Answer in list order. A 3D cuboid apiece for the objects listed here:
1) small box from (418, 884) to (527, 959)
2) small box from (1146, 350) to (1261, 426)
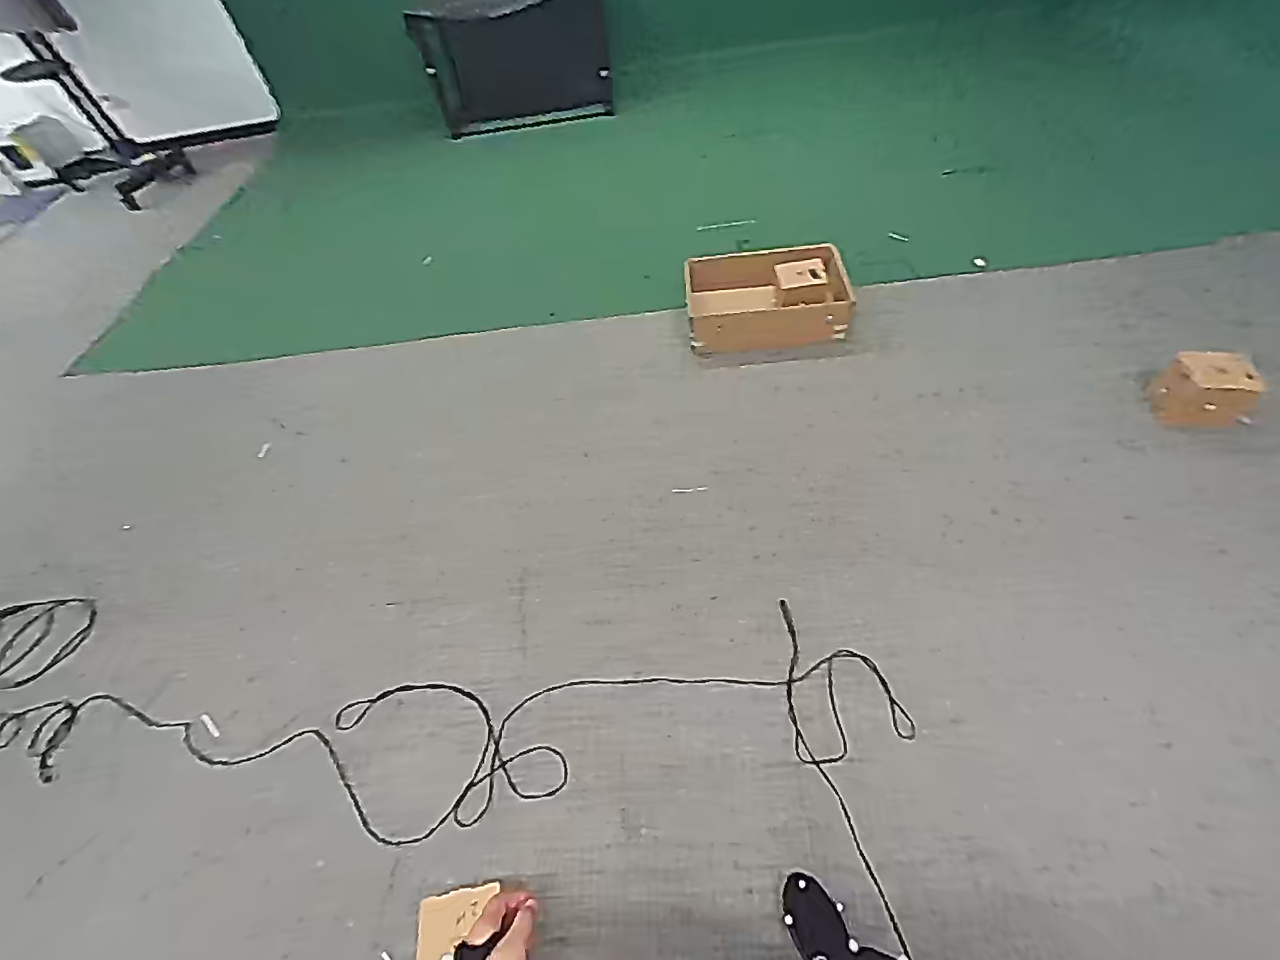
[{"bbox_3d":[-0.332,0.939,1.093,0.168,0.176,0.179,-12,52,0],"label":"small box"},{"bbox_3d":[1.740,-0.285,1.688,0.179,0.176,0.168,4,54,13],"label":"small box"}]
